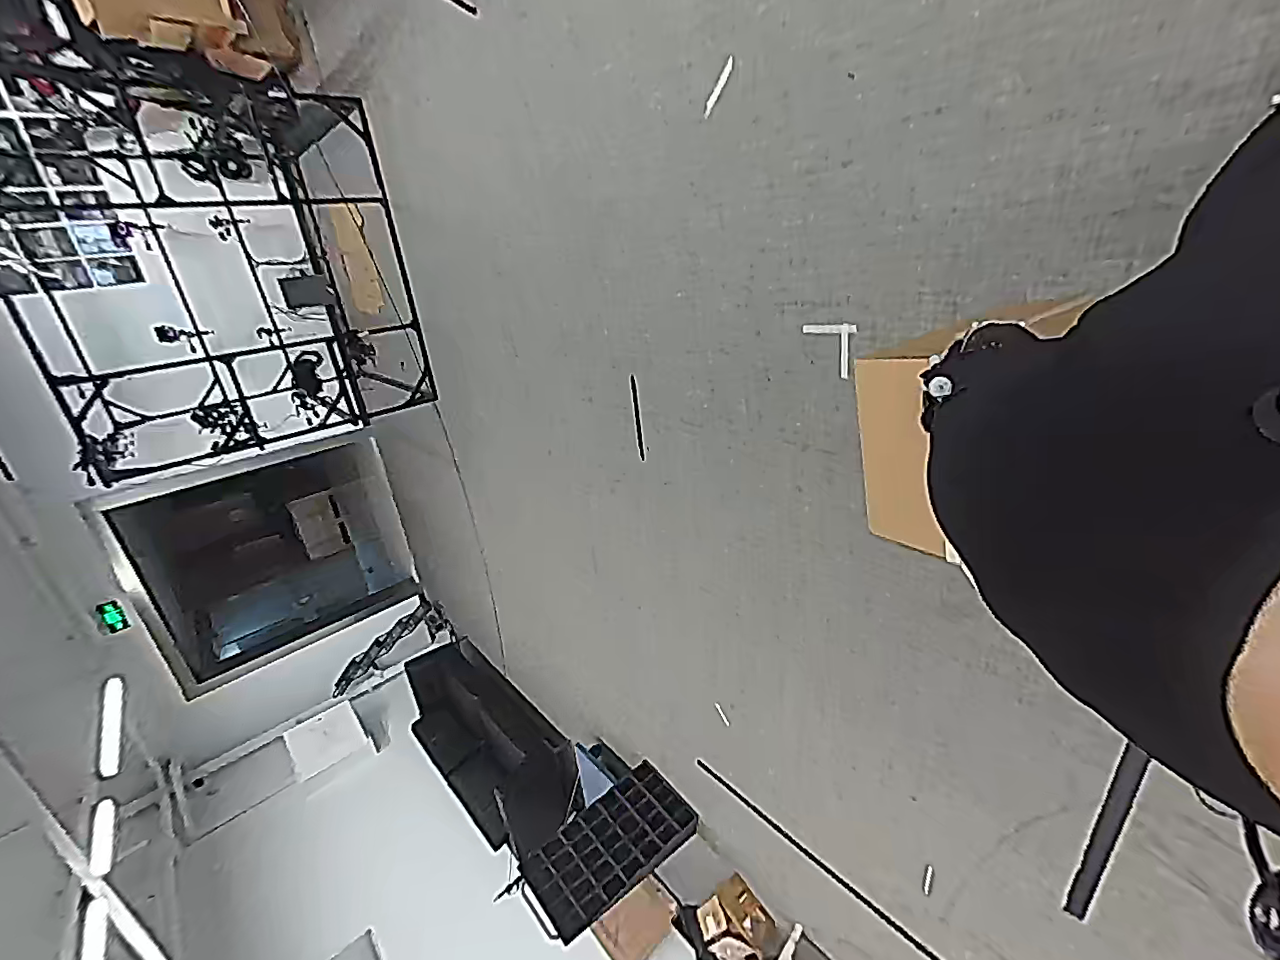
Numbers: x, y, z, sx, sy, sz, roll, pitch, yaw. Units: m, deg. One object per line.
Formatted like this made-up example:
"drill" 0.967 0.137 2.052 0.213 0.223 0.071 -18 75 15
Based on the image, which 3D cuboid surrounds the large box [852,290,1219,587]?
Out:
"large box" 0.603 -0.090 0.852 0.320 0.408 0.320 21 128 60
